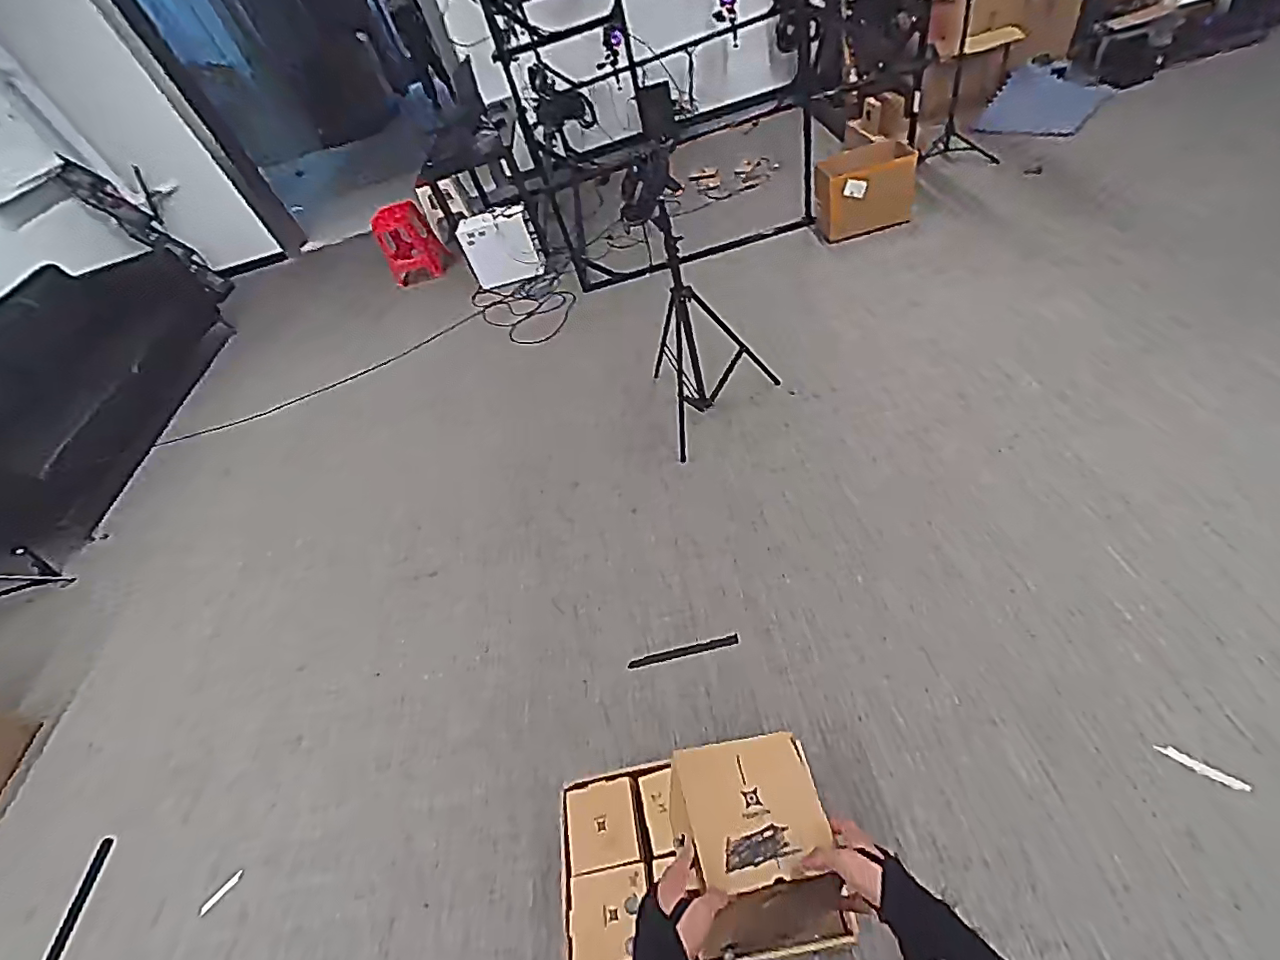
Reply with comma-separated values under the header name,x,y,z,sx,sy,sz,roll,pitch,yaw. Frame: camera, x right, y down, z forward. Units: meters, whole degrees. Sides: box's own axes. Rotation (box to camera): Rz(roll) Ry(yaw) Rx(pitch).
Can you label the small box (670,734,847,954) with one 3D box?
name,x,y,z,sx,sy,sz,roll,pitch,yaw
small box,0.137,0.466,0.694,0.168,0.176,0.179,-6,31,-9
